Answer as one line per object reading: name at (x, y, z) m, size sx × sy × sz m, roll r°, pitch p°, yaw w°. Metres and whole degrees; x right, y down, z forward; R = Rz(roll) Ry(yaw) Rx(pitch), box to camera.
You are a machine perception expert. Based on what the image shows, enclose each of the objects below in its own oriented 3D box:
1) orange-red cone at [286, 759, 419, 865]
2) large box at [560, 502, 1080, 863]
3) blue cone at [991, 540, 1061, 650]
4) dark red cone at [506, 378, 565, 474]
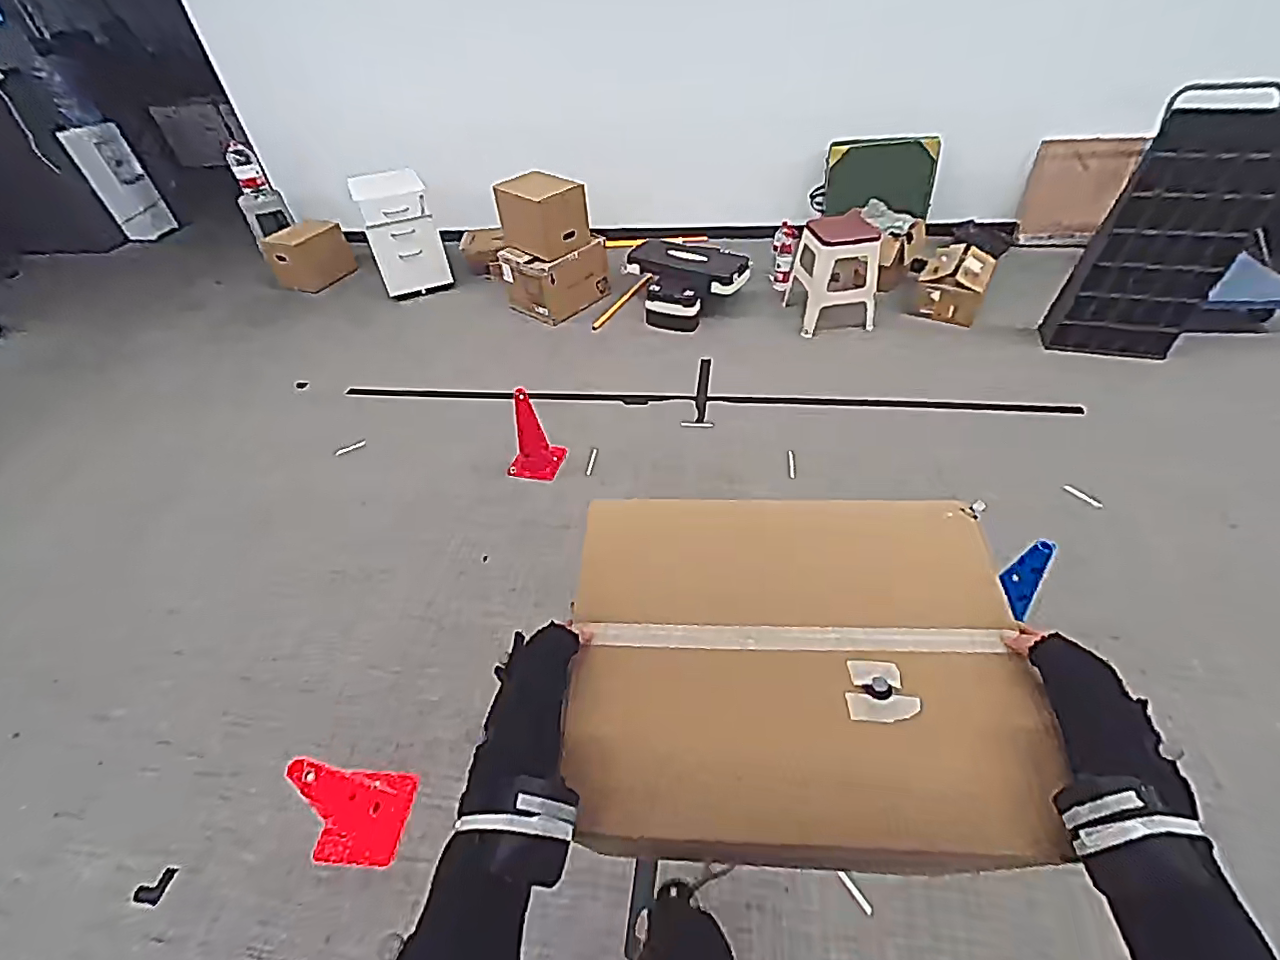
orange-red cone at (-0.676, 0.703, 1.207) m, size 0.198 × 0.360 × 0.199 m, roll 1°, pitch 46°, yaw 7°
large box at (0.144, 0.238, 0.621) m, size 0.408 × 0.320 × 0.320 m, roll 0°, pitch 53°, yaw 4°
blue cone at (1.042, 0.297, 1.497) m, size 0.192 × 0.380 × 0.193 m, roll 6°, pitch 46°, yaw 9°
dark red cone at (-0.431, -0.217, 2.092) m, size 0.201 × 0.394 × 0.202 m, roll 8°, pitch 46°, yaw 11°
